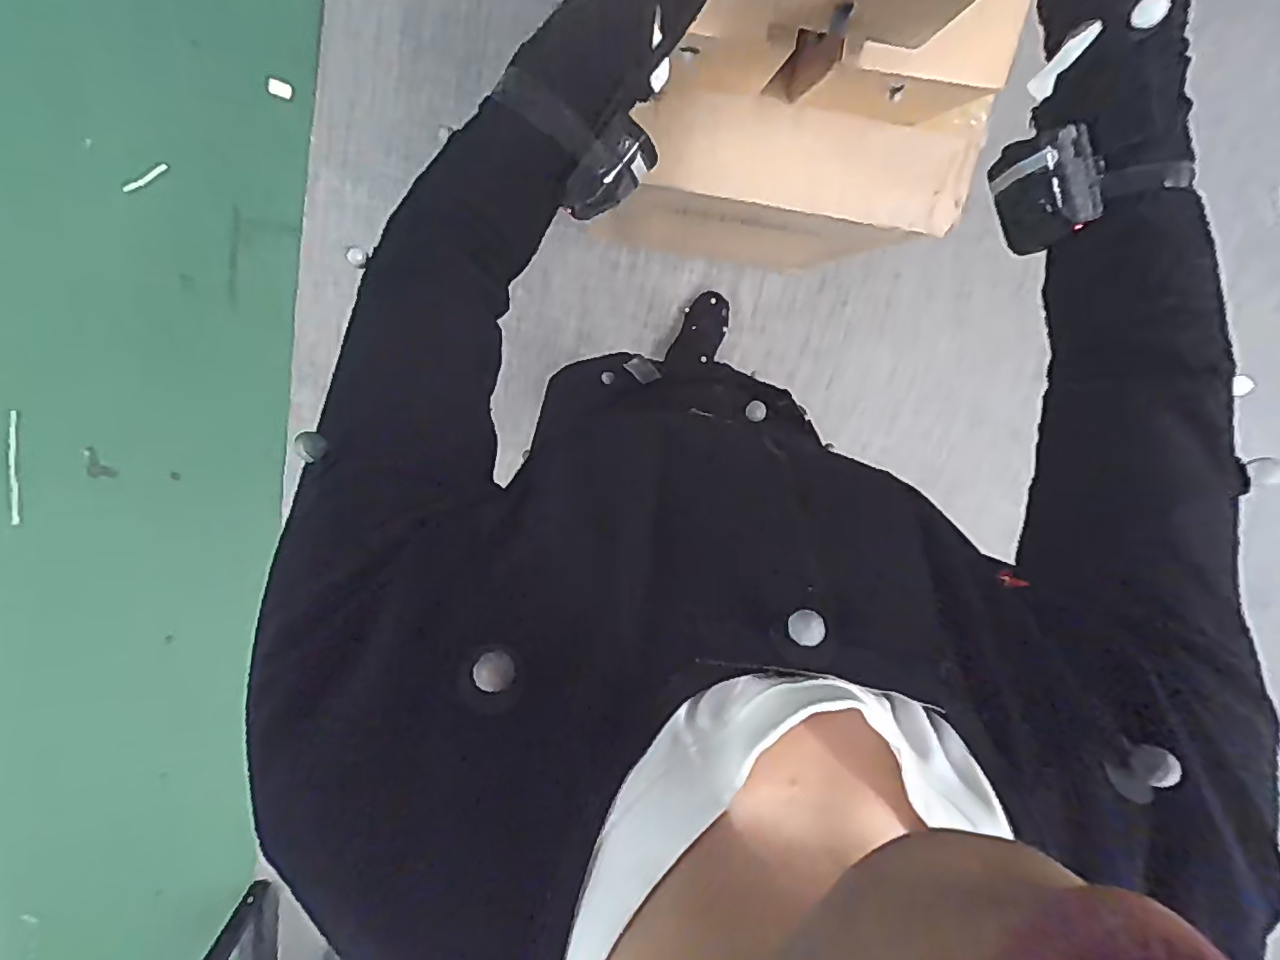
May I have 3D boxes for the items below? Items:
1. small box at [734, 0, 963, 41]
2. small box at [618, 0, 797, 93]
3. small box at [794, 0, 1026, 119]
[{"bbox_3d":[0.179,-0.452,0.384,0.179,0.176,0.168,7,108,-4],"label":"small box"},{"bbox_3d":[0.072,-0.535,0.568,0.179,0.176,0.168,6,112,-5],"label":"small box"},{"bbox_3d":[0.285,-0.512,0.585,0.179,0.176,0.168,4,113,-5],"label":"small box"}]
